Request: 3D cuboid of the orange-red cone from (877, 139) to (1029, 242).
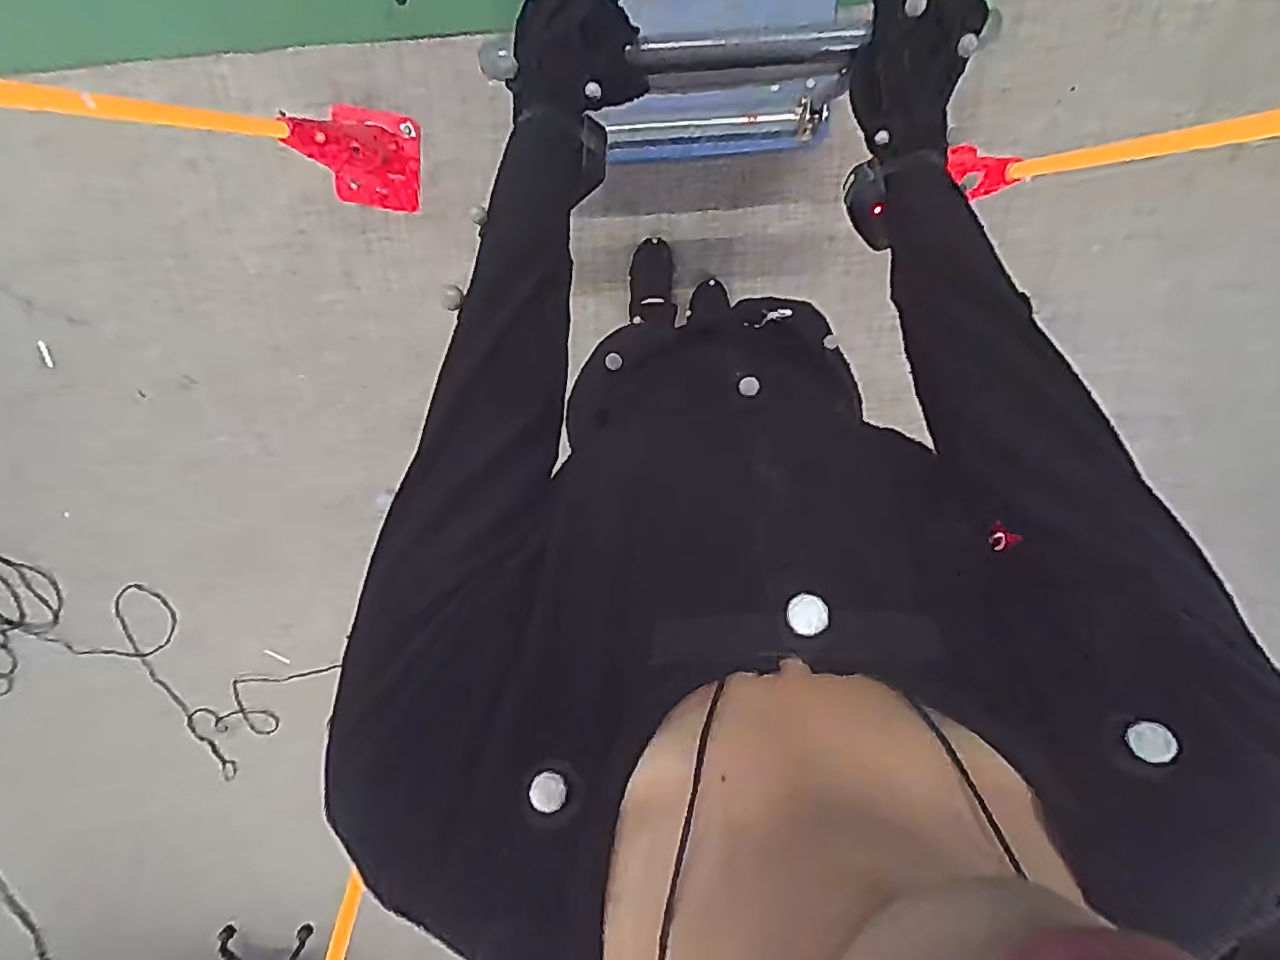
[{"bbox_3d":[0.672,-0.610,1.113,0.198,0.360,0.199,8,113,-2],"label":"orange-red cone"}]
